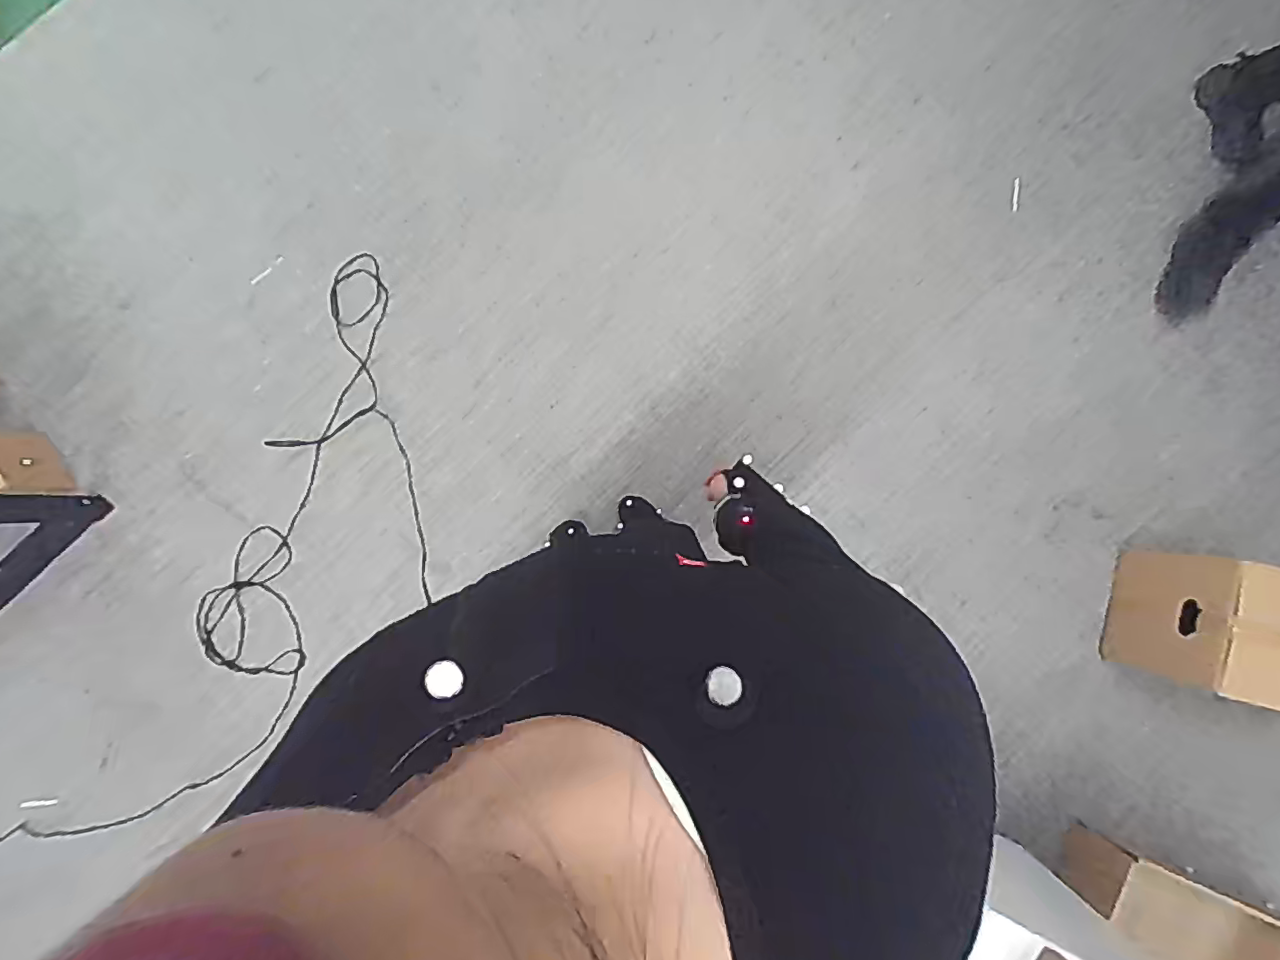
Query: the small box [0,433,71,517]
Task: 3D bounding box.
[{"bbox_3d":[-1.654,-0.013,1.393,0.168,0.176,0.179,-32,89,-3],"label":"small box"}]
